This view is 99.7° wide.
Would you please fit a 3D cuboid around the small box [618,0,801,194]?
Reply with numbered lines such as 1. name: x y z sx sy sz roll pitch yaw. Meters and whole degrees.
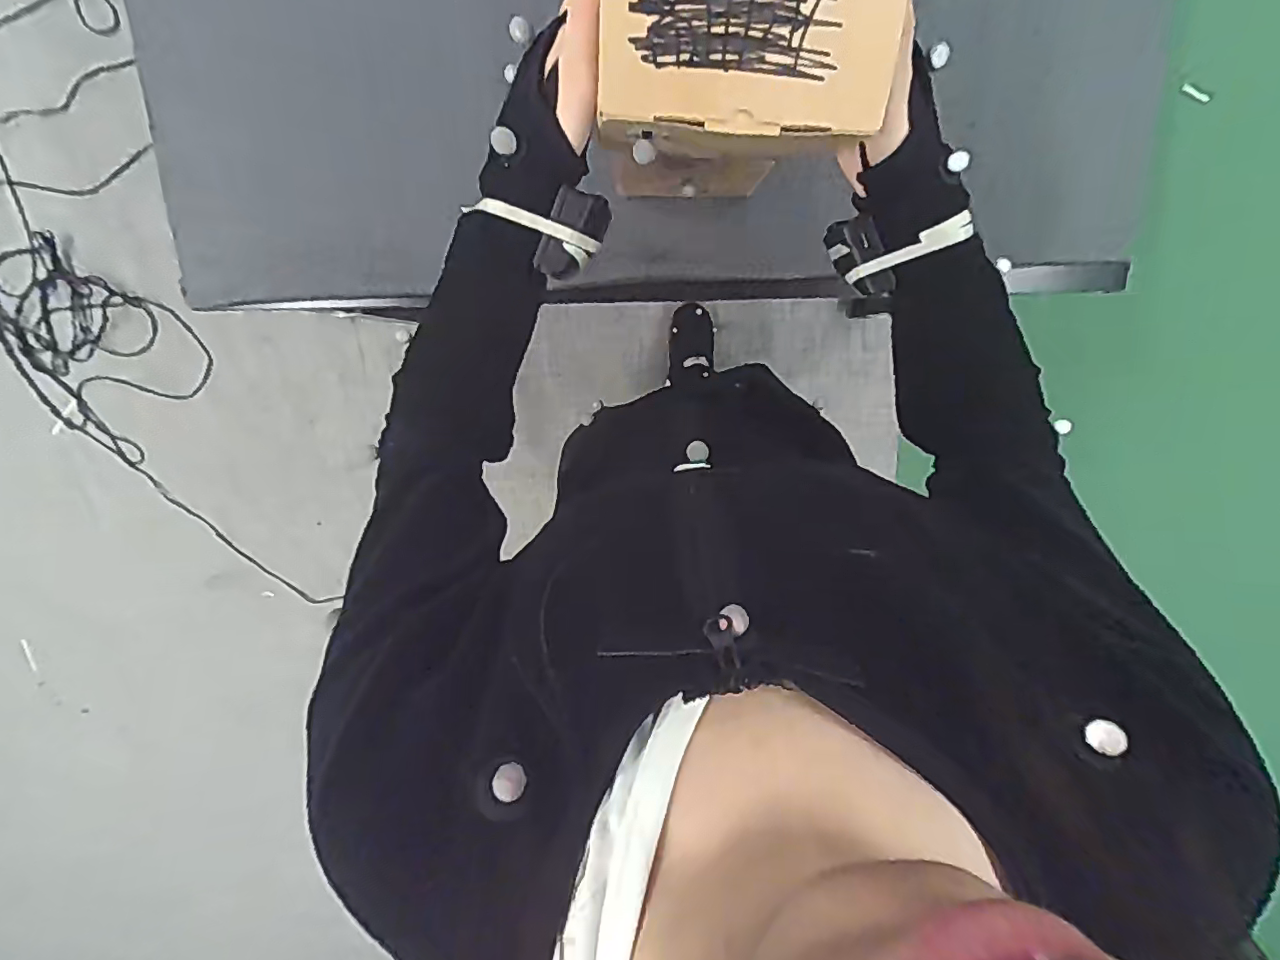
1. small box: 0.060 -0.420 0.563 0.168 0.176 0.179 0 103 -1
